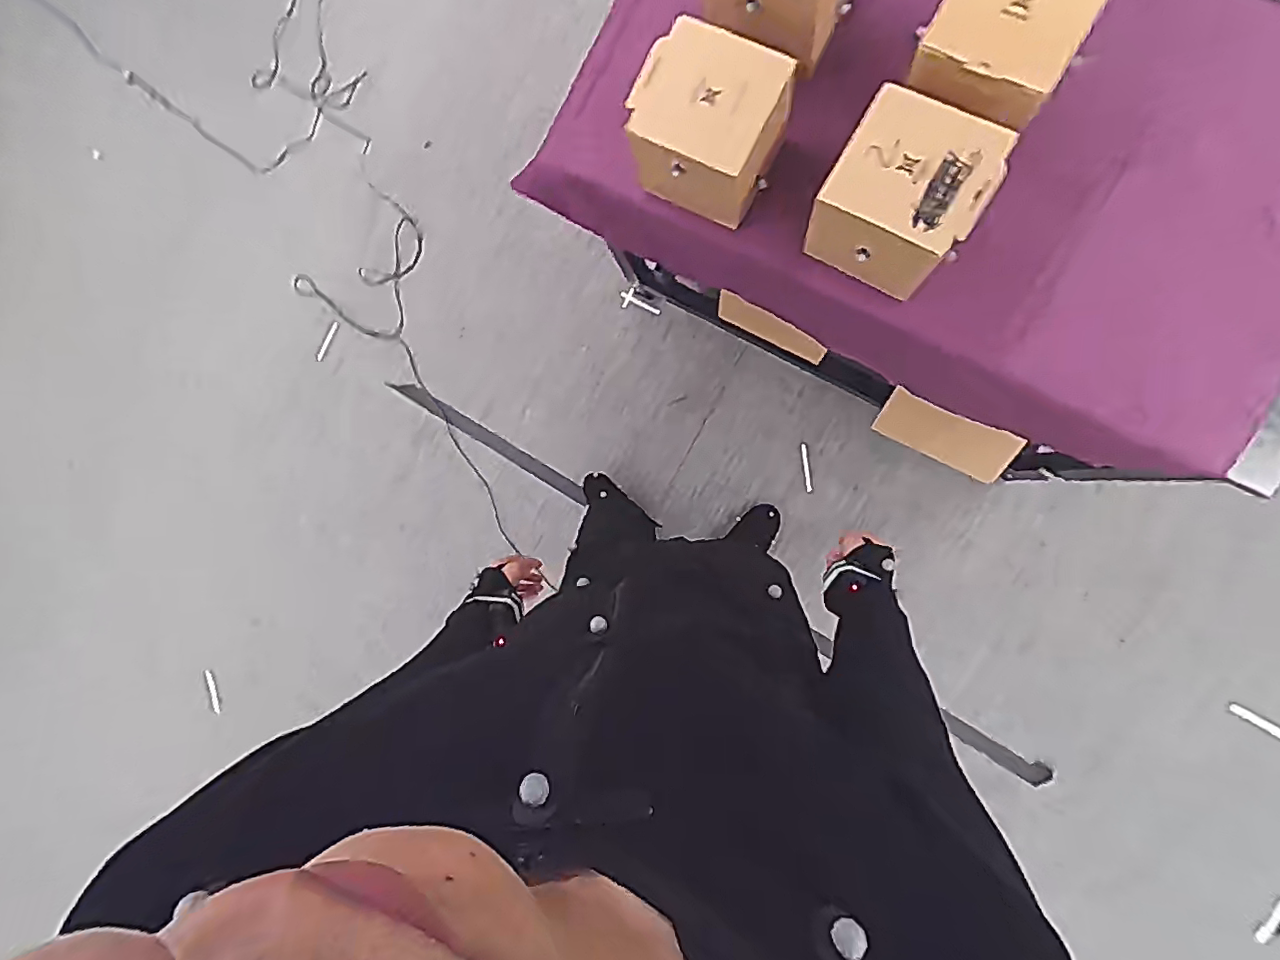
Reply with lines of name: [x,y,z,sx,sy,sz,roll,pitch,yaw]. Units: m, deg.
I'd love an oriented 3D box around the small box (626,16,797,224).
small box: [0.106,-0.513,0.798,0.179,0.176,0.168,29,96,8]

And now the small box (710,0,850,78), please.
small box: [0.208,-0.730,0.776,0.179,0.176,0.168,27,96,9]
